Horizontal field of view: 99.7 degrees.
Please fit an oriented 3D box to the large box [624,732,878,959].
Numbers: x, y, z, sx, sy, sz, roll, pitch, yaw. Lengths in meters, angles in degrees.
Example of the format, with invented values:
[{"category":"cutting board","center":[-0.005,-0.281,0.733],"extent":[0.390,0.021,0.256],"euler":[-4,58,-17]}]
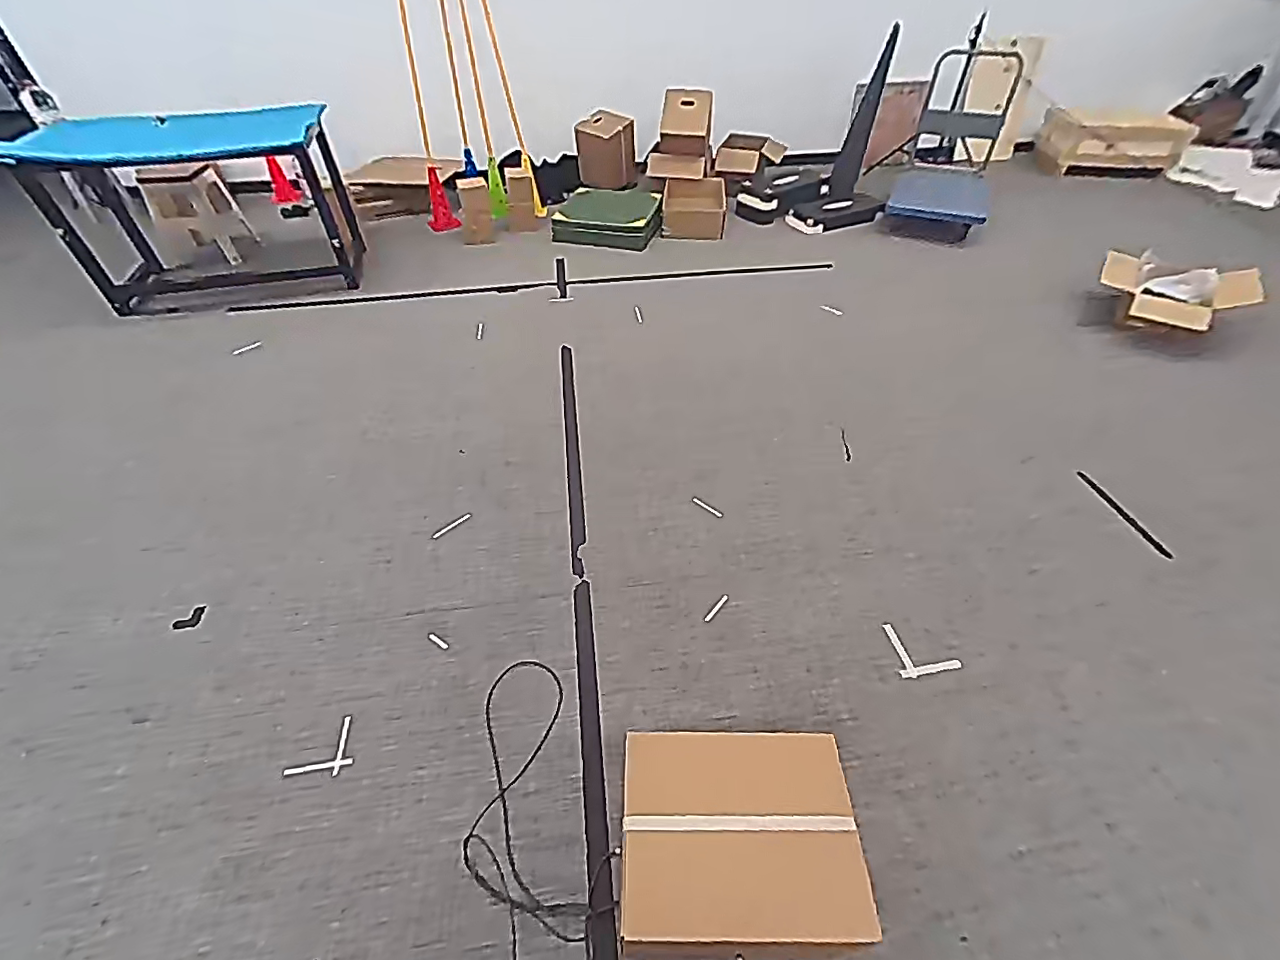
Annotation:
[{"category":"large box","center":[0.171,0.706,1.049],"extent":[0.408,0.320,0.320],"euler":[1,45,0]}]
